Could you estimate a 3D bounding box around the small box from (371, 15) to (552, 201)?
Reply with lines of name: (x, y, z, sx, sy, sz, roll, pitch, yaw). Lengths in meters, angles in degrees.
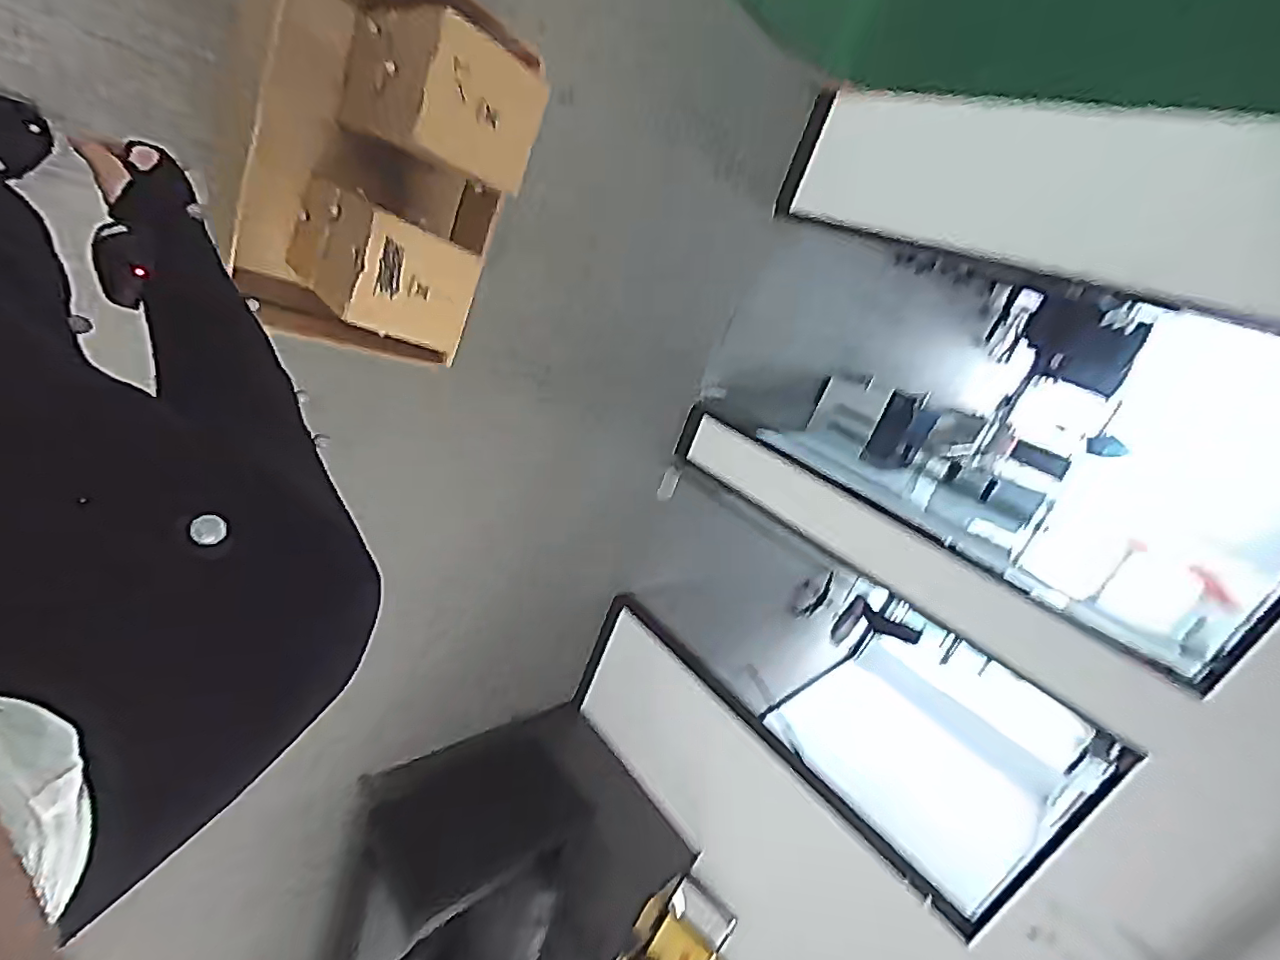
small box: (-0.271, -0.557, 0.817, 0.179, 0.176, 0.168, 5, 115, -50)

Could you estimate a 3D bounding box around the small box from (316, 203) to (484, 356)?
small box: (-0.393, -0.325, 0.874, 0.179, 0.176, 0.168, 8, 113, -51)

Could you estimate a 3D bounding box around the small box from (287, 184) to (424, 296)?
small box: (-0.499, -0.406, 0.971, 0.179, 0.176, 0.168, 8, 113, -49)
